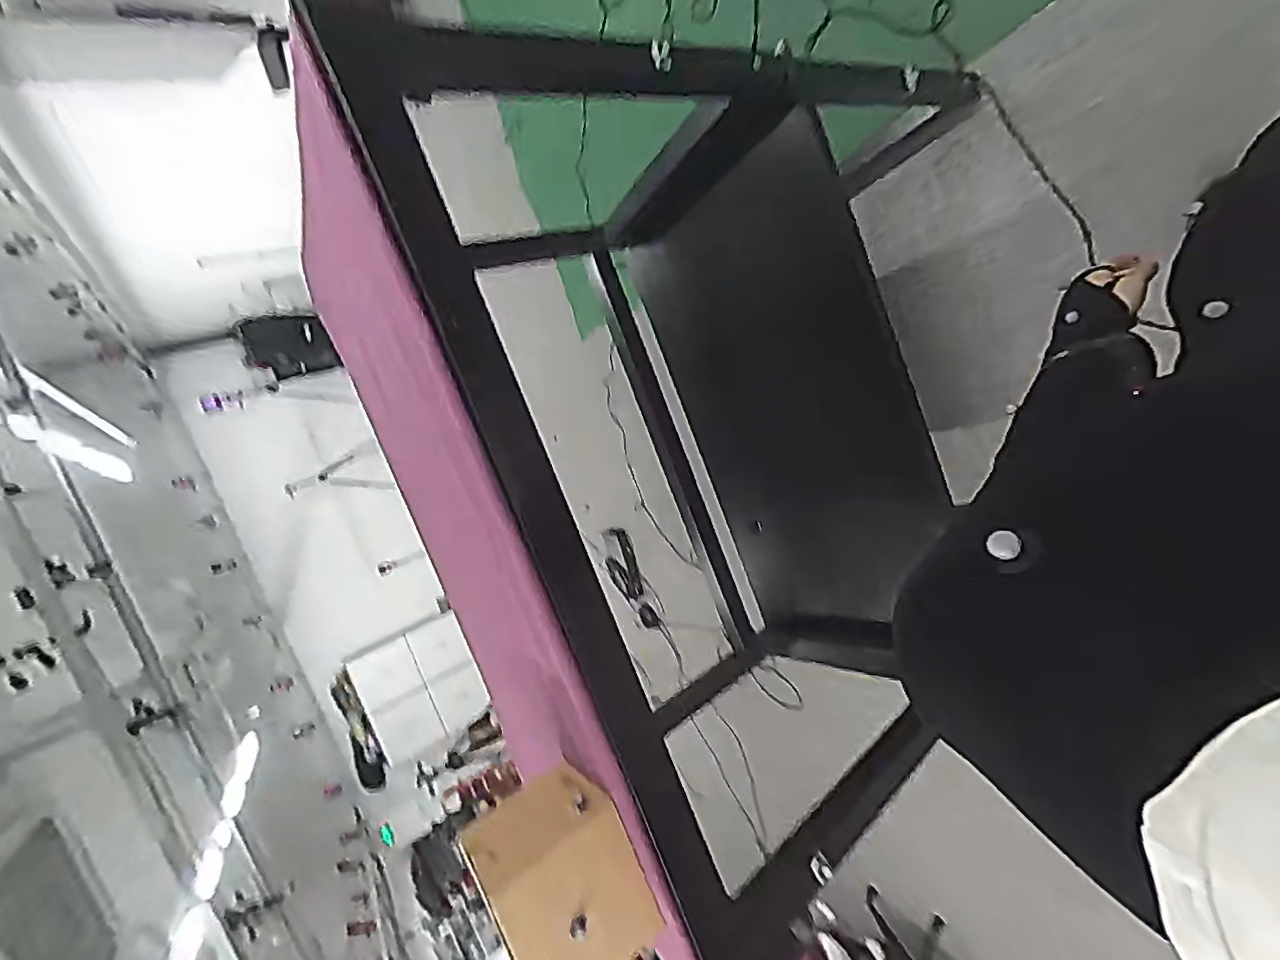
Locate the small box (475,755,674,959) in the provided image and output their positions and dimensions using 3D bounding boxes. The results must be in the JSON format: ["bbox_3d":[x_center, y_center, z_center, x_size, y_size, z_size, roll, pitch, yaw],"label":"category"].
[{"bbox_3d":[-0.086,0.497,0.700,0.168,0.176,0.179,-17,97,61],"label":"small box"}]
